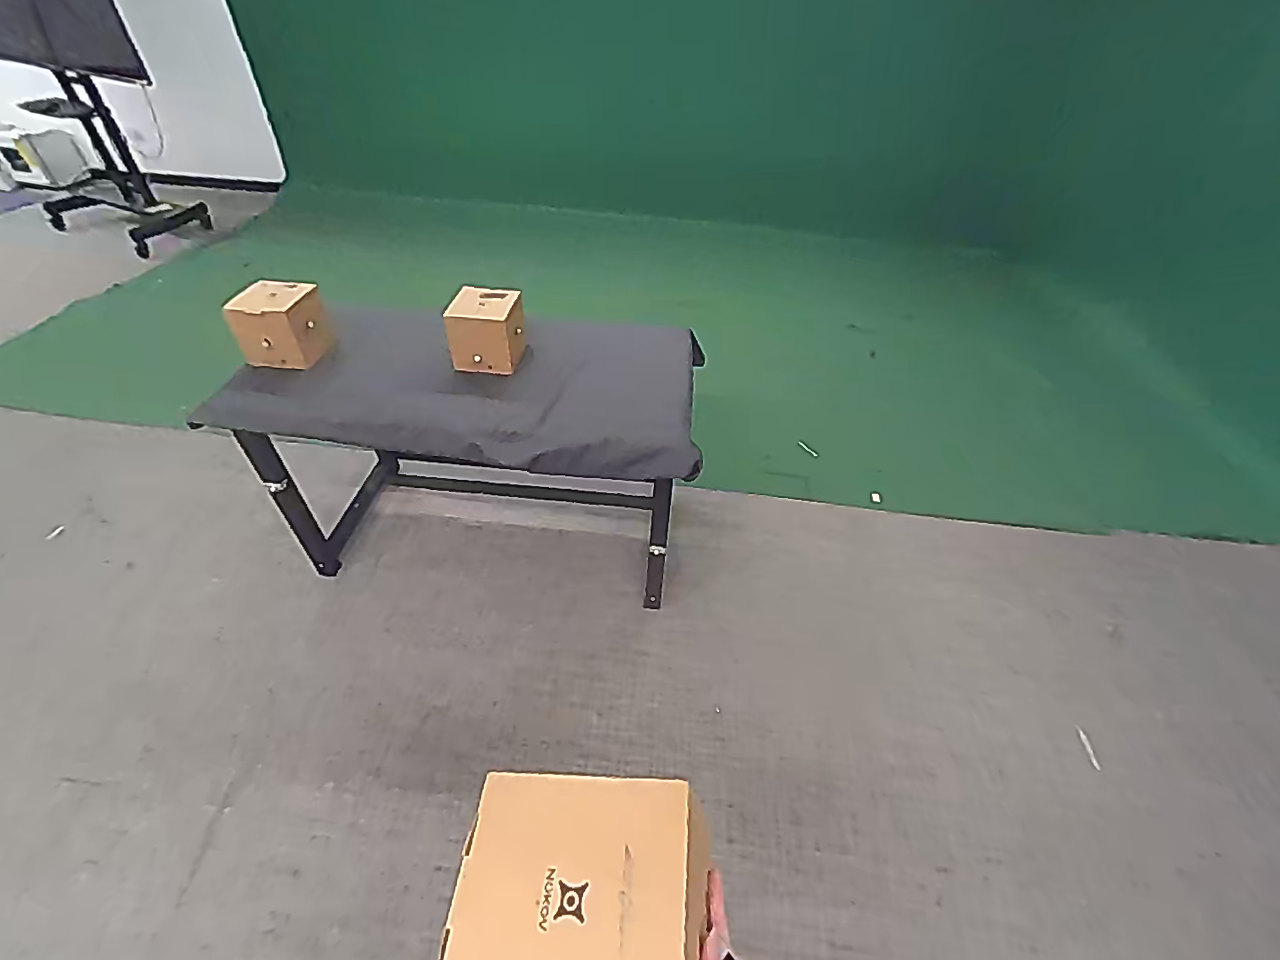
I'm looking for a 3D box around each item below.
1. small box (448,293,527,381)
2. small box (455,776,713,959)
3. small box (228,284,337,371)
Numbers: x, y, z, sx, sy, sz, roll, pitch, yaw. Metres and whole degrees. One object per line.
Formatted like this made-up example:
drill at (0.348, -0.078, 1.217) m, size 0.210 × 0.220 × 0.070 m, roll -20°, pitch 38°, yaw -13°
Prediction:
small box at (-0.418, -0.403, 1.518) m, size 0.168 × 0.176 × 0.179 m, roll 6°, pitch 44°, yaw 2°
small box at (-0.032, 0.366, 0.455) m, size 0.179 × 0.176 × 0.168 m, roll -3°, pitch 47°, yaw 10°
small box at (-0.969, -0.417, 1.489) m, size 0.168 × 0.176 × 0.179 m, roll 5°, pitch 44°, yaw 0°
